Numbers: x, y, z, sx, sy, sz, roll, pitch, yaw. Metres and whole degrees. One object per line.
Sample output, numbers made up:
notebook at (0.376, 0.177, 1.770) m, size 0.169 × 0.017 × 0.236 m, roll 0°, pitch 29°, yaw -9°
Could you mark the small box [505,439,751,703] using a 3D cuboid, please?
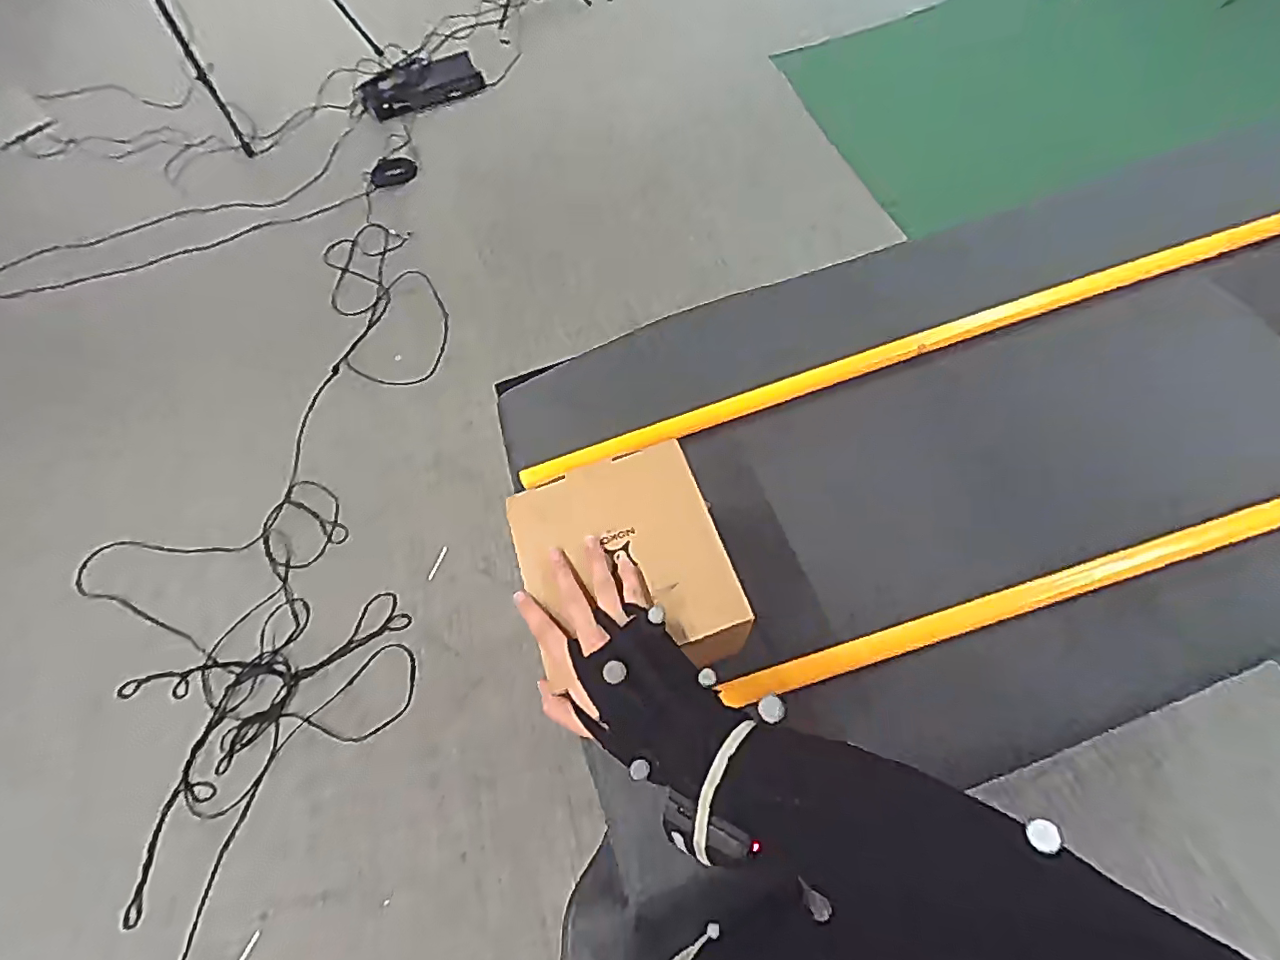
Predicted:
small box at (-0.009, 0.095, 0.515) m, size 0.168 × 0.176 × 0.179 m, roll -21°, pitch 64°, yaw -3°
